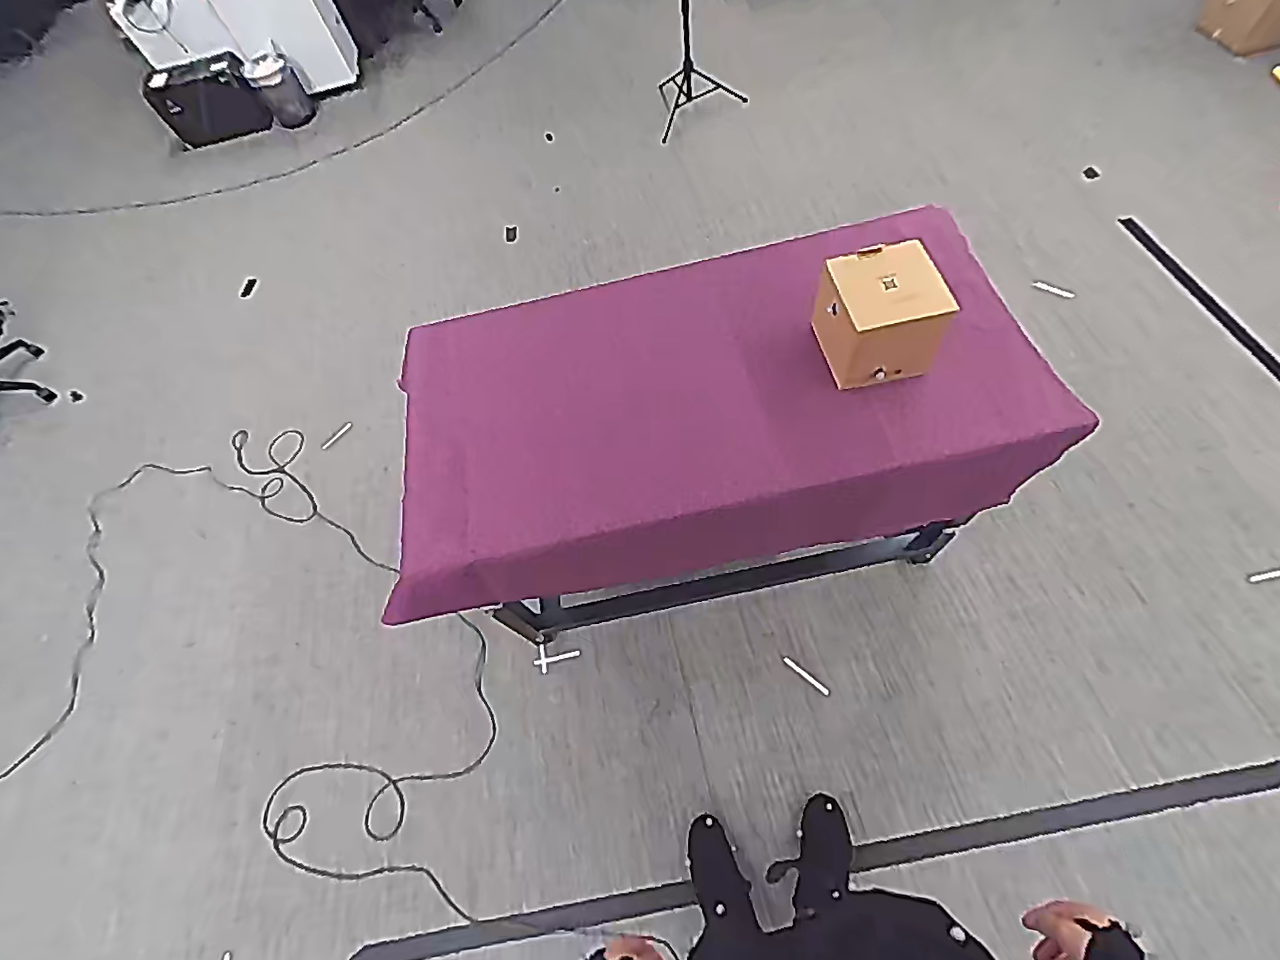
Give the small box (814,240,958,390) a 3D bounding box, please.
[{"bbox_3d":[0.423,-0.291,0.969,0.168,0.176,0.179,-11,62,4],"label":"small box"}]
